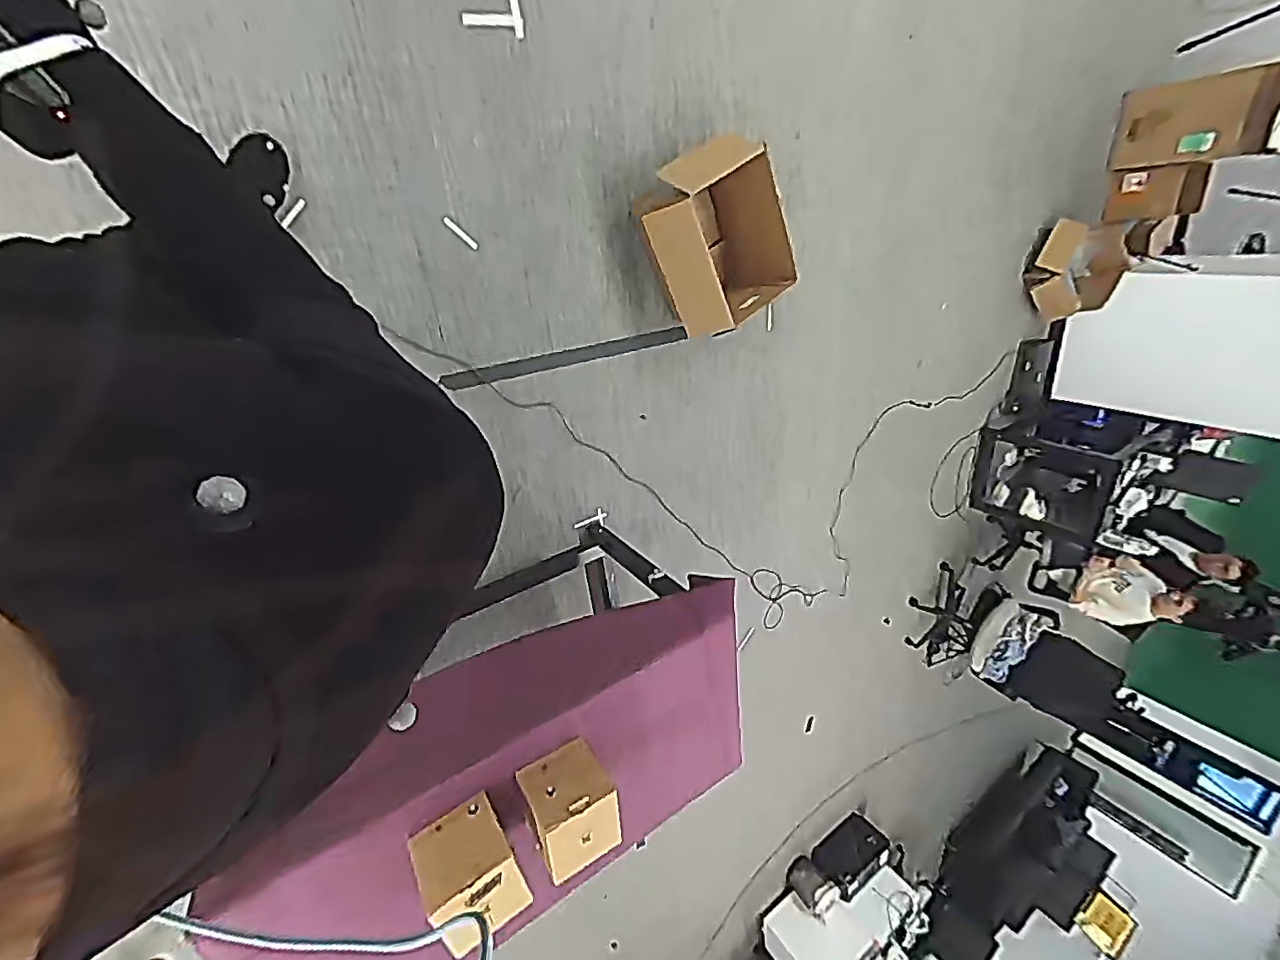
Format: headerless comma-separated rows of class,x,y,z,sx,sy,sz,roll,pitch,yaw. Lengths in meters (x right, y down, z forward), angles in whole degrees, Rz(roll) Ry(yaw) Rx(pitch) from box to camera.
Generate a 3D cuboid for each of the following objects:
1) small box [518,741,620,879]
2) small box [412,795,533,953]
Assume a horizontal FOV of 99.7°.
small box,-0.160,0.720,1.207,0.168,0.176,0.179,-17,118,-29
small box,-0.343,0.786,1.102,0.168,0.176,0.179,-25,123,-26
